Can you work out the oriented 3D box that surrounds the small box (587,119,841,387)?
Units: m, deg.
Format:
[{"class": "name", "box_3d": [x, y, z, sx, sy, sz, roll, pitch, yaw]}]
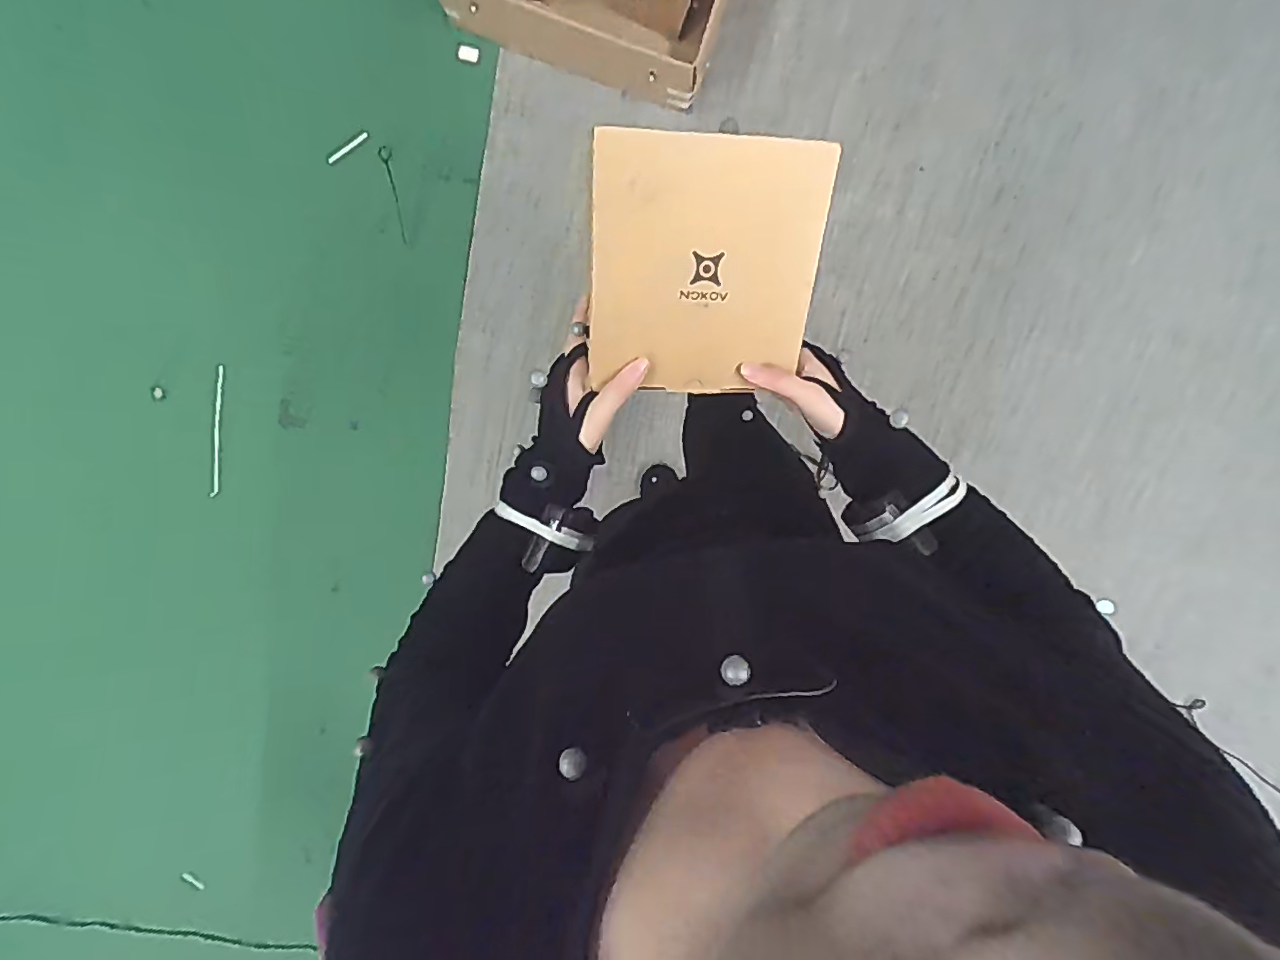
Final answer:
[{"class": "small box", "box_3d": [0.041, -0.191, 0.462, 0.168, 0.176, 0.179, 0, 120, -8]}]
